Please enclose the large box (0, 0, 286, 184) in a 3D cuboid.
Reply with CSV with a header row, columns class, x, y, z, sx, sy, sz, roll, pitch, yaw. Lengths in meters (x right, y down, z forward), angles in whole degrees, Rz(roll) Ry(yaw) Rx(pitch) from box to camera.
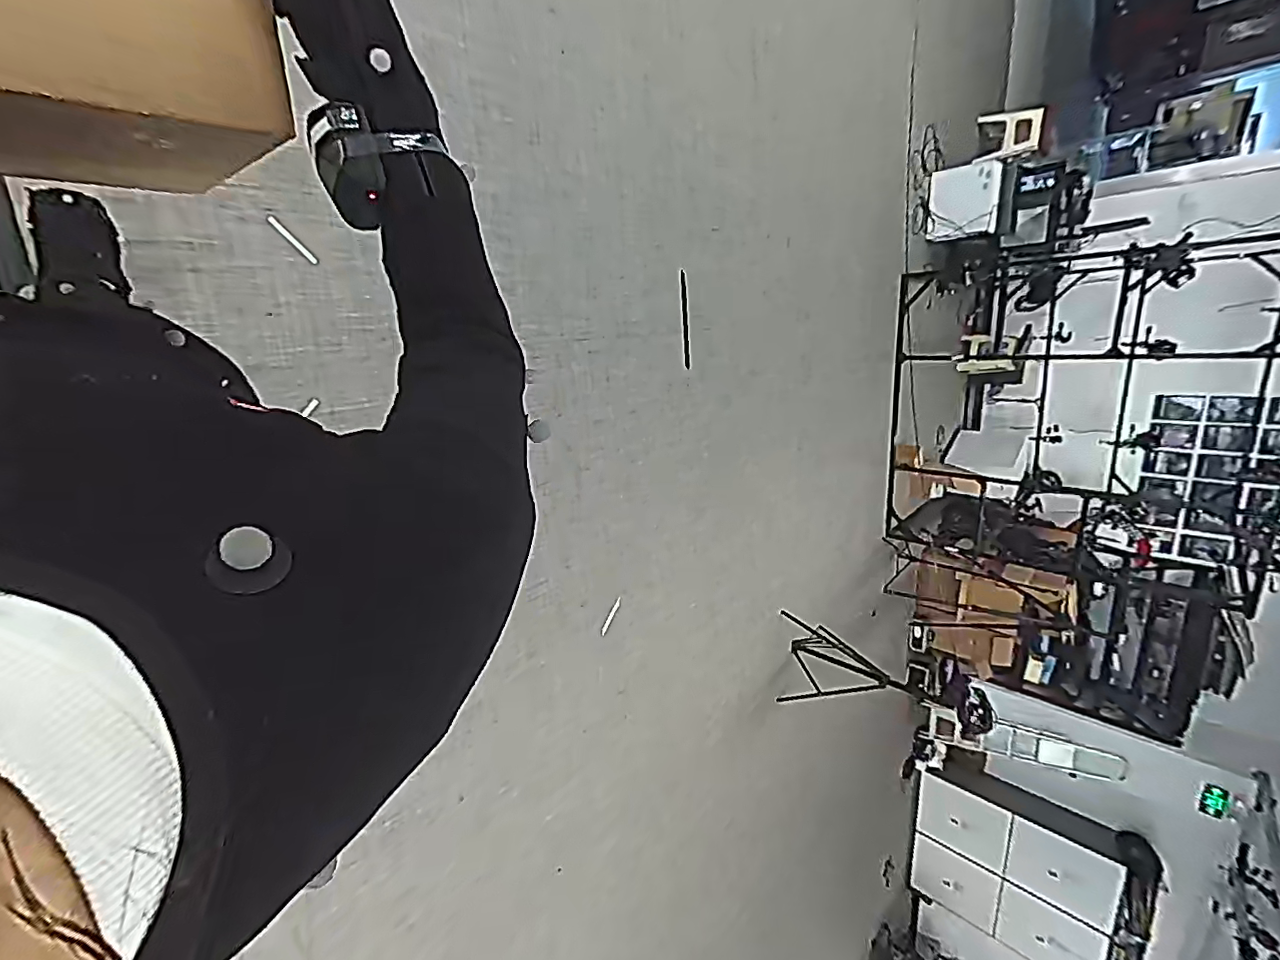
class,x,y,z,sx,sy,sz,roll,pitch,yaw
large box,-0.498,-0.373,0.294,0.408,0.320,0.320,-20,118,-44
